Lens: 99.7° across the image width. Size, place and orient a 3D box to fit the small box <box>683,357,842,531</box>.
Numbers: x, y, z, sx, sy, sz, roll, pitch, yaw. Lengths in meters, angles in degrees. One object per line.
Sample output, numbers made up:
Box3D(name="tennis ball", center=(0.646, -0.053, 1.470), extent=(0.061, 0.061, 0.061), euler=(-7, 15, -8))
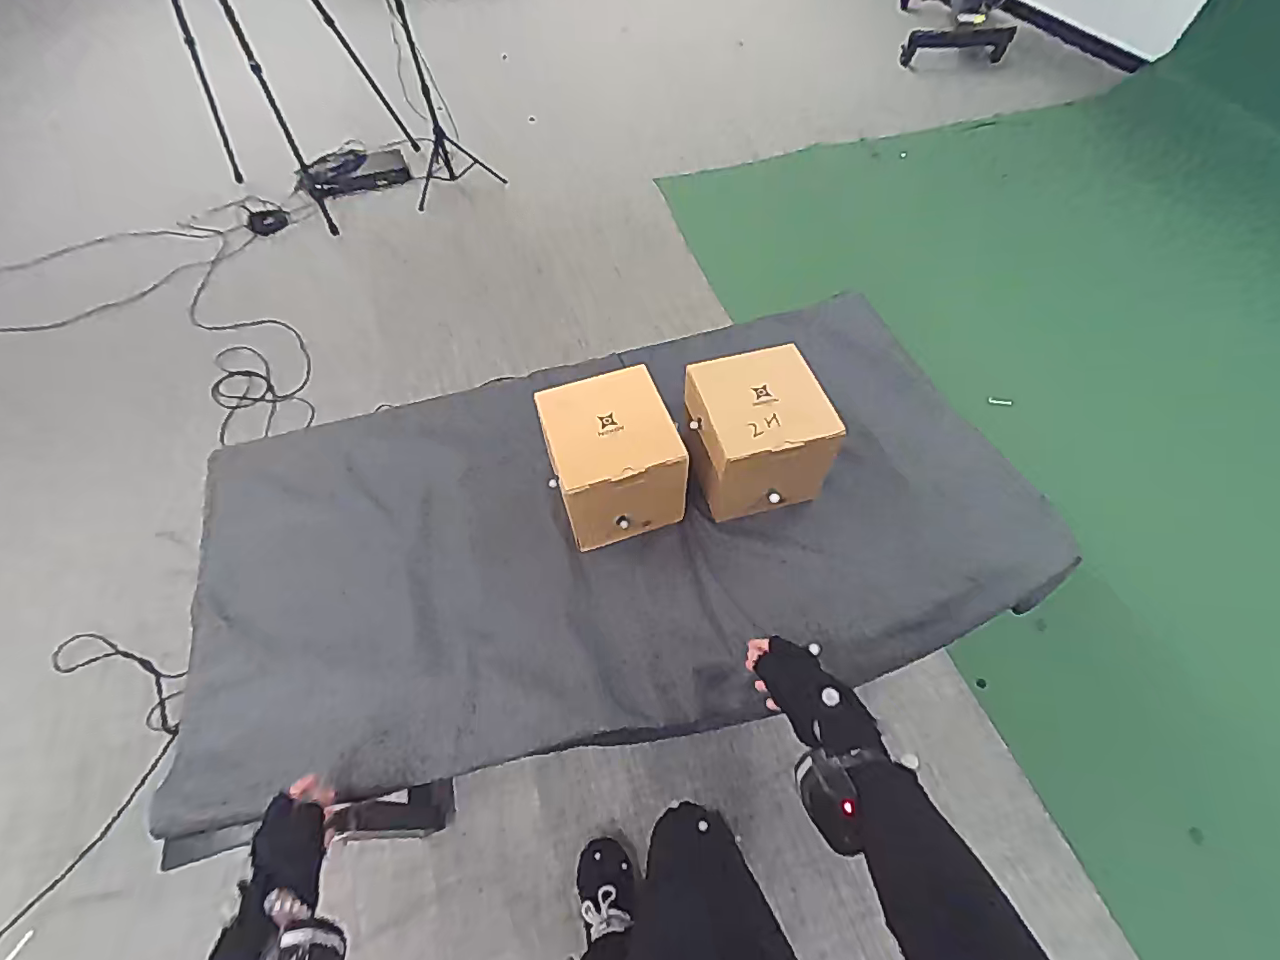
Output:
Box3D(name="small box", center=(0.165, -0.050, 0.801), extent=(0.168, 0.176, 0.179), euler=(-13, 57, -6))
